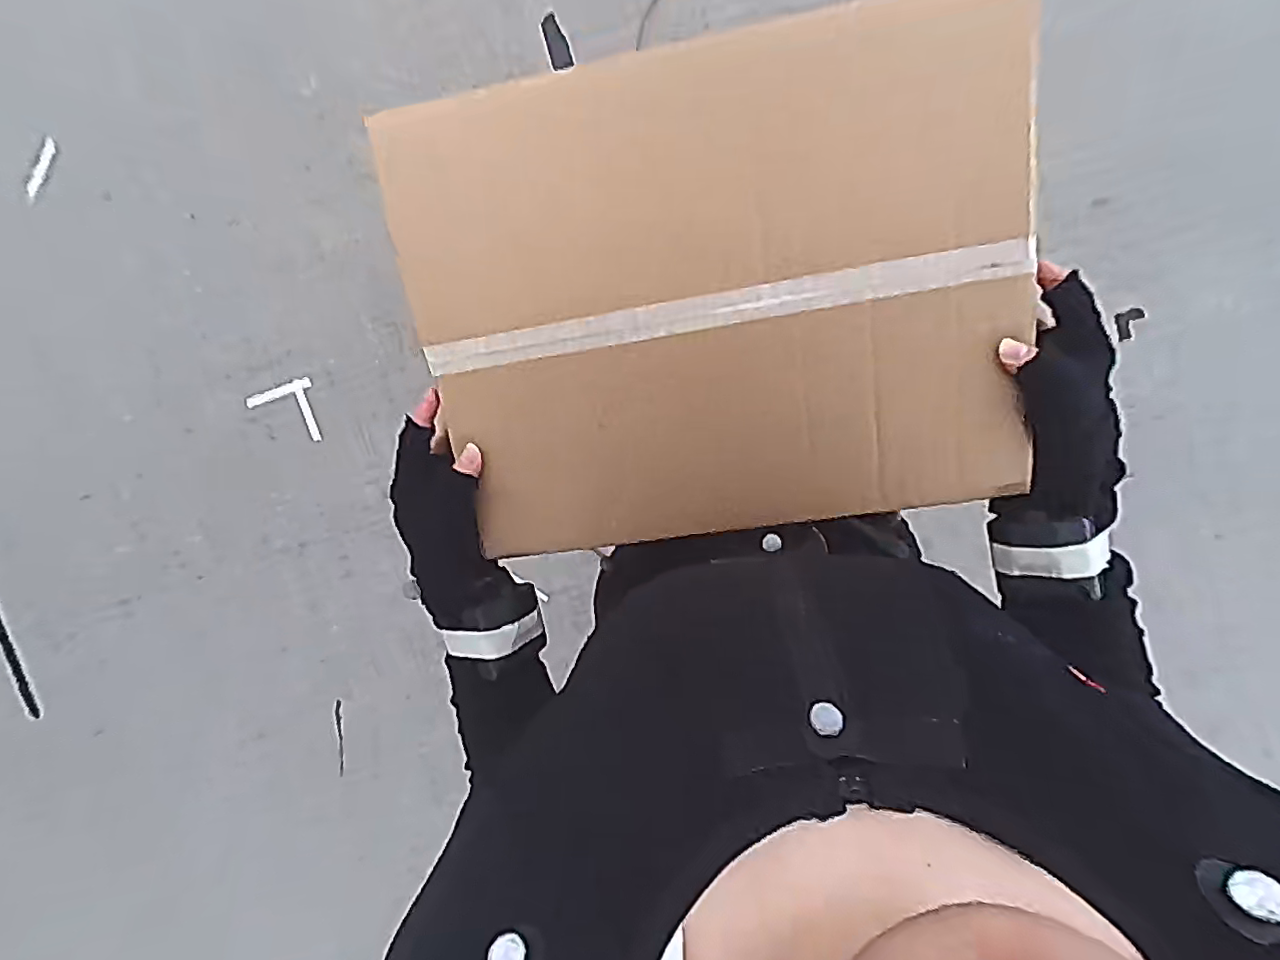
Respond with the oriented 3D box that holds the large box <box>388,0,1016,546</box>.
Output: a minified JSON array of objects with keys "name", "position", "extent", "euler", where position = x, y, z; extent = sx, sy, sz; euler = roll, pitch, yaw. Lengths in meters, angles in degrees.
[{"name":"large box","position":[0.058,-0.159,0.519],"extent":[0.408,0.320,0.320],"euler":[-8,106,7]}]
